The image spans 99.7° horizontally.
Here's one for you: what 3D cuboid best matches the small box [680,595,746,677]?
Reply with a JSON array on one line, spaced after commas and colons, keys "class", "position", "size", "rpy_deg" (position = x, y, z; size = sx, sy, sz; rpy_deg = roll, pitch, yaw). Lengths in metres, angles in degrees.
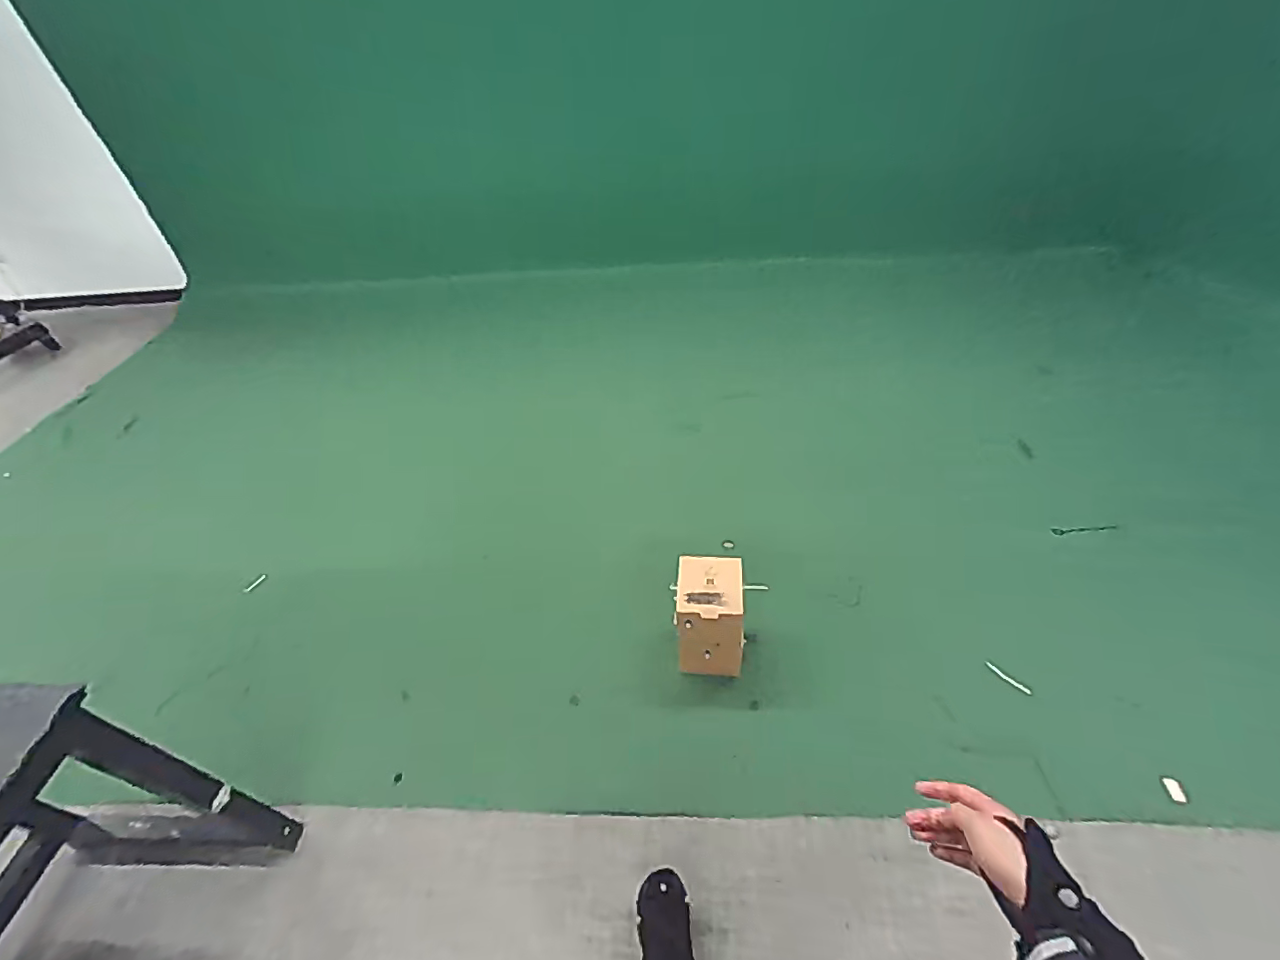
[{"class": "small box", "position": [0.206, 0.446, 1.539], "size": [0.179, 0.176, 0.168], "rpy_deg": [1, 45, 7]}]
